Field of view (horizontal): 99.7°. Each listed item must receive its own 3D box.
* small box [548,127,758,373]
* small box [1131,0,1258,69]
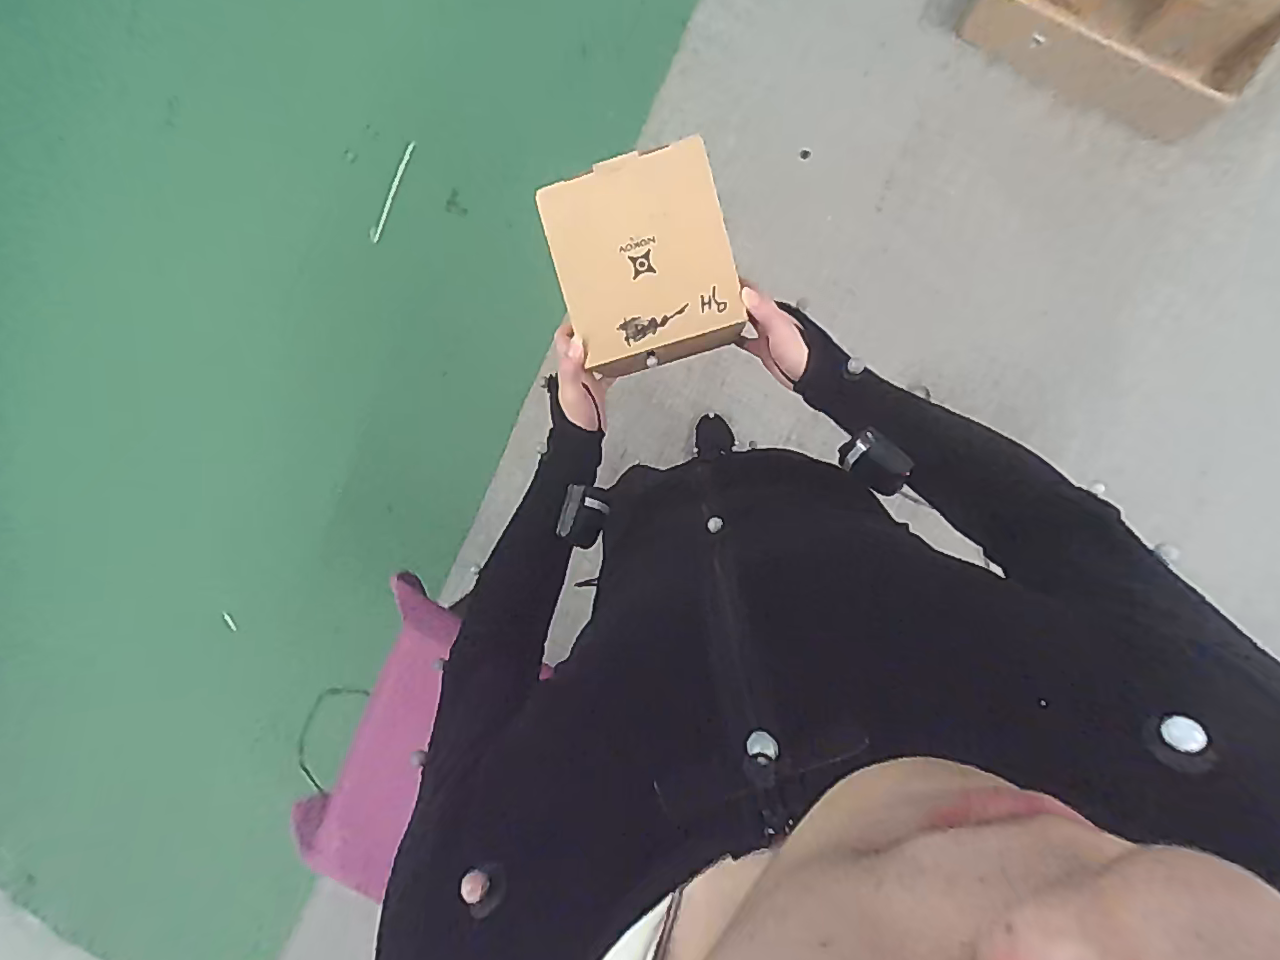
[{"bbox_3d":[0.018,-0.224,0.578,0.168,0.176,0.179,-14,95,8],"label":"small box"},{"bbox_3d":[1.248,-1.065,1.183,0.168,0.176,0.179,31,101,6],"label":"small box"}]
